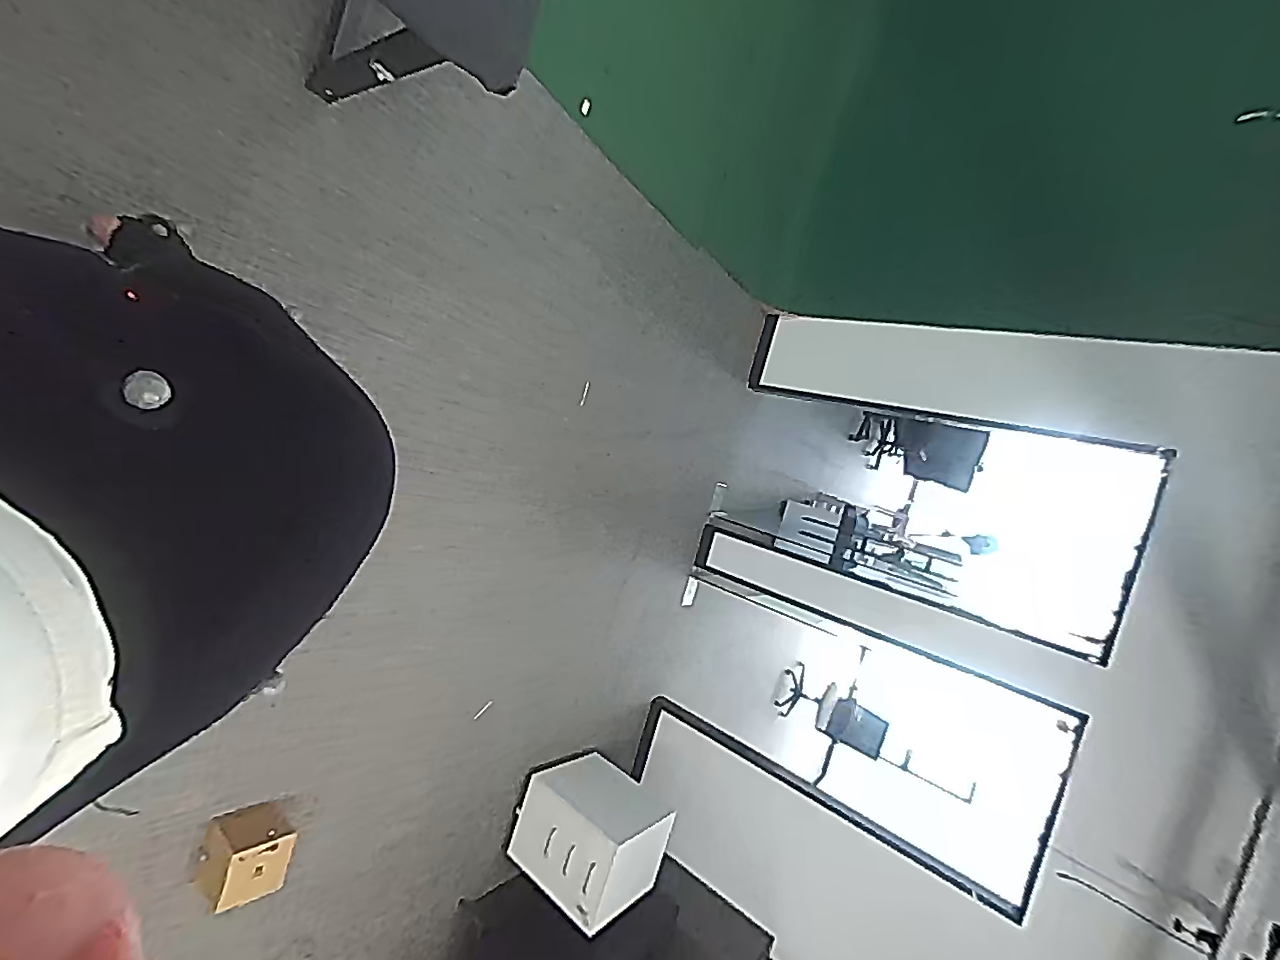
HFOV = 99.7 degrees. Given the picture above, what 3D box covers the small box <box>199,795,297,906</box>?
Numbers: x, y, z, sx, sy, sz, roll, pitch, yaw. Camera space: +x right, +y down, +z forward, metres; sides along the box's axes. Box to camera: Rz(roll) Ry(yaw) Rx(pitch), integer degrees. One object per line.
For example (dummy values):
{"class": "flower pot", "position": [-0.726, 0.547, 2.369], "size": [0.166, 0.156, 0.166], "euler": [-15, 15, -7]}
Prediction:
{"class": "small box", "position": [-1.140, 1.062, 1.567], "size": [0.168, 0.176, 0.179], "euler": [17, 91, -56]}
